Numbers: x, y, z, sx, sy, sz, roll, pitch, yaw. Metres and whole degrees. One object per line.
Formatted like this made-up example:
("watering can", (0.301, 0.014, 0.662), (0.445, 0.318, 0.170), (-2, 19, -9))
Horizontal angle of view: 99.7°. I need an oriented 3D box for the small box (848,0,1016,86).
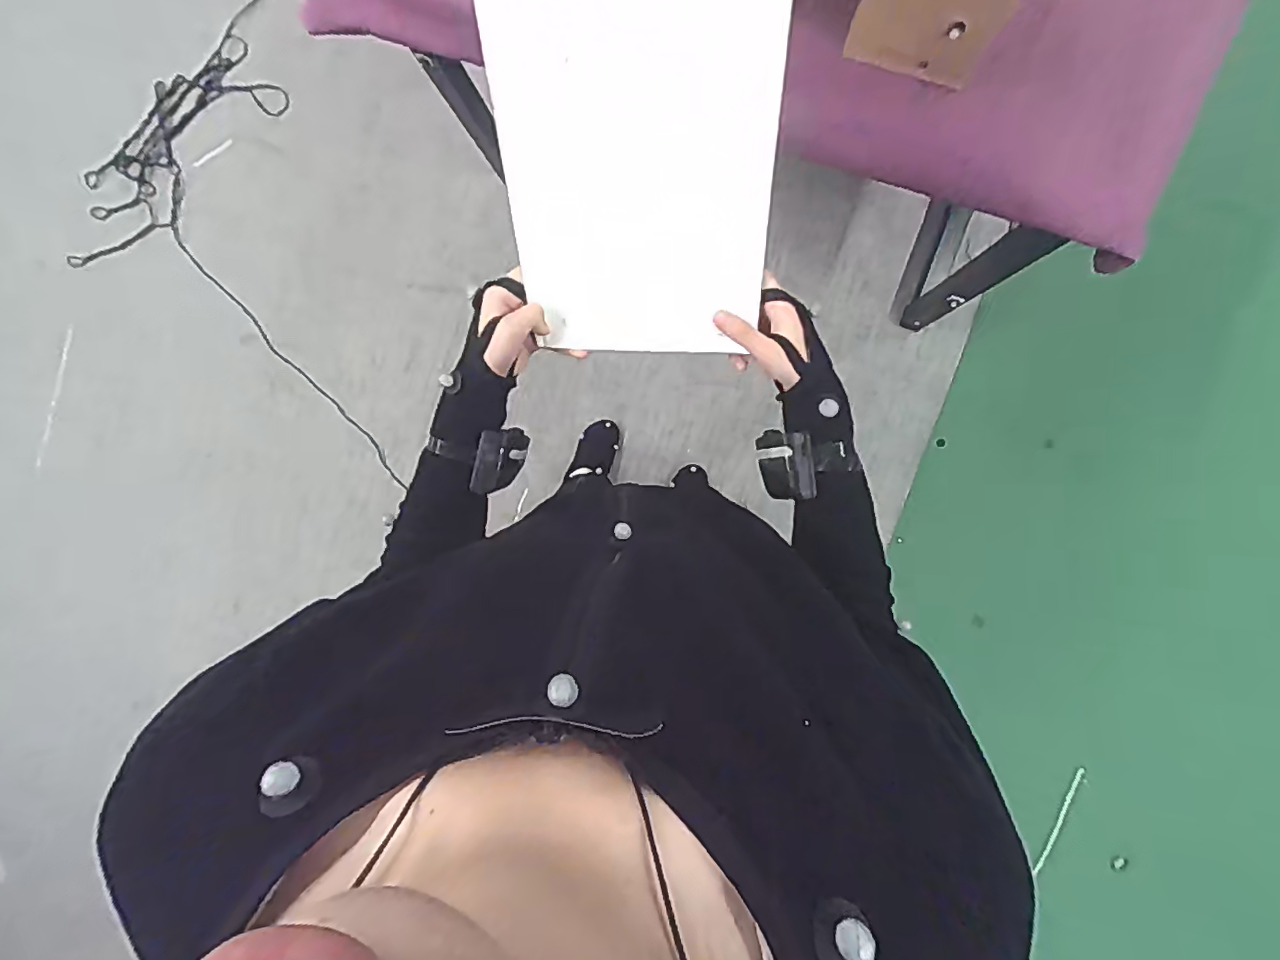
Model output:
("small box", (0.369, -0.624, 0.644), (0.168, 0.176, 0.179), (21, 92, 4))
